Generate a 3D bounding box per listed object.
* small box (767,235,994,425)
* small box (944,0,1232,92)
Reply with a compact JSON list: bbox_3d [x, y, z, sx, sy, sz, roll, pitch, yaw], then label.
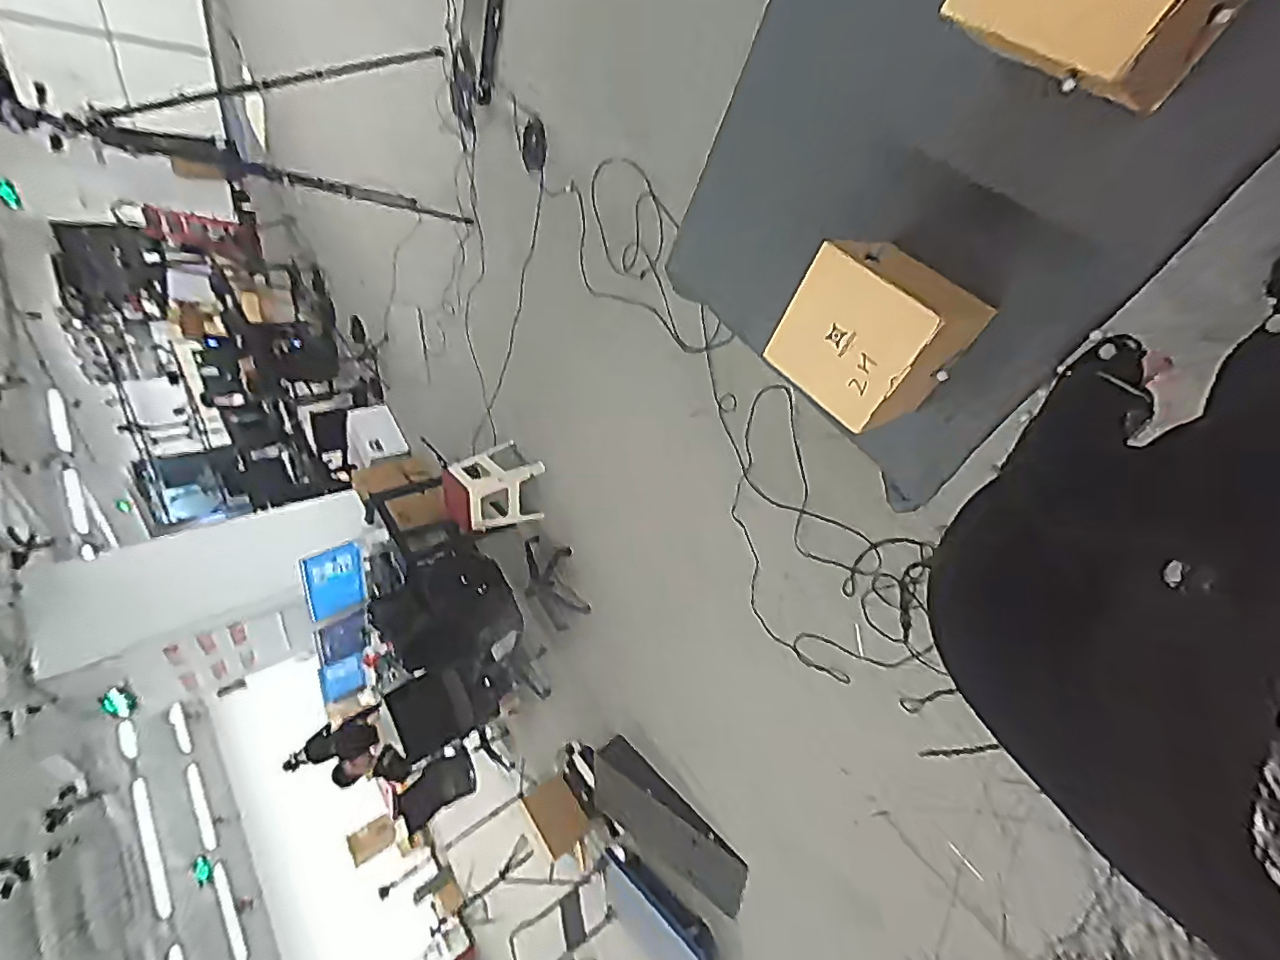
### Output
[{"bbox_3d":[0.308,-0.199,0.707,0.179,0.176,0.168,48,137,26],"label":"small box"},{"bbox_3d":[0.415,-0.464,0.465,0.179,0.176,0.168,48,137,25],"label":"small box"}]
